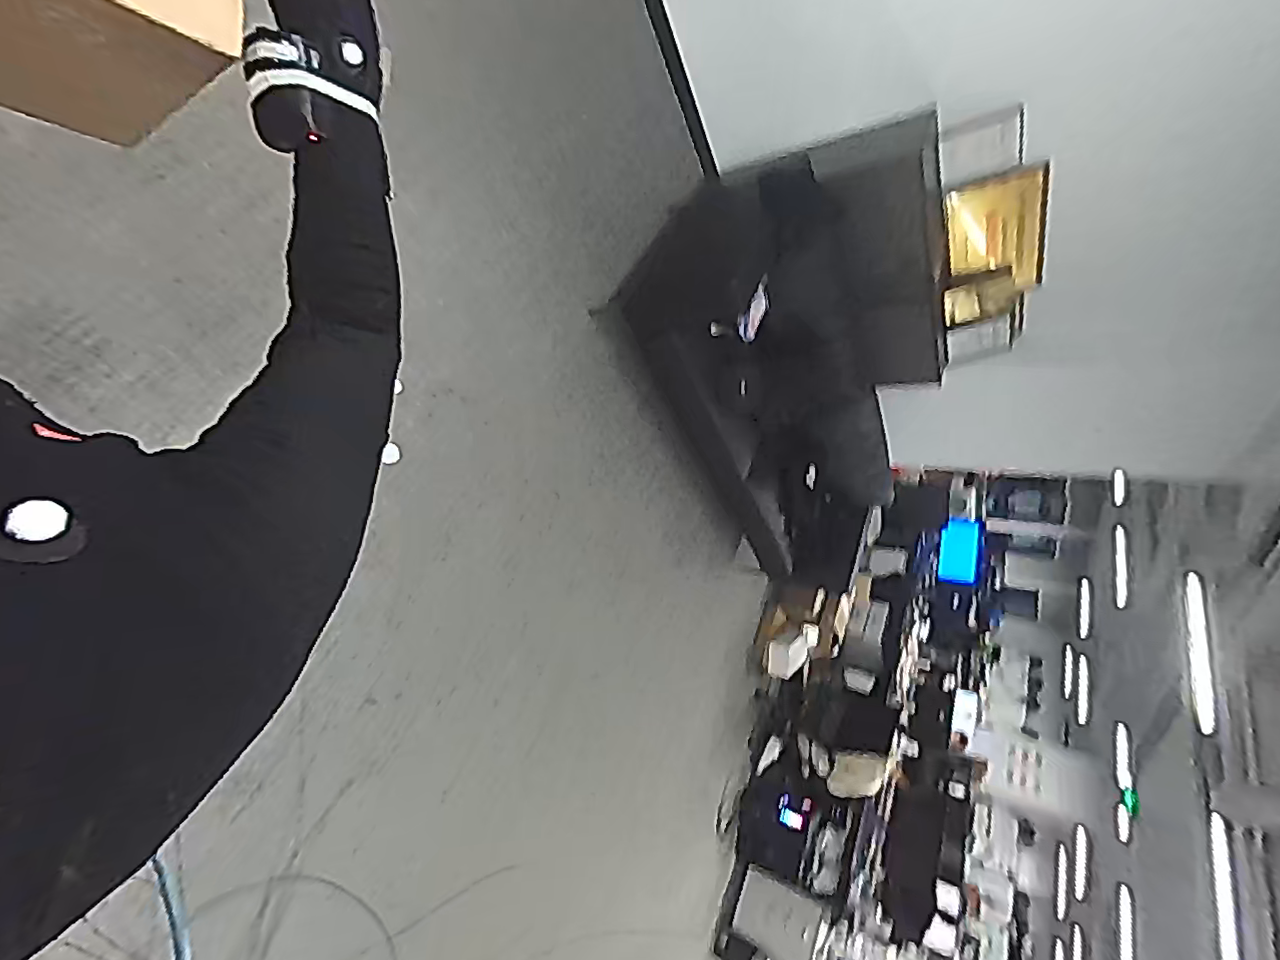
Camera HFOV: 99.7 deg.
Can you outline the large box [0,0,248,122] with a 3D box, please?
[{"bbox_3d":[-0.490,-0.460,0.270,0.408,0.320,0.320,-6,106,-53],"label":"large box"}]
